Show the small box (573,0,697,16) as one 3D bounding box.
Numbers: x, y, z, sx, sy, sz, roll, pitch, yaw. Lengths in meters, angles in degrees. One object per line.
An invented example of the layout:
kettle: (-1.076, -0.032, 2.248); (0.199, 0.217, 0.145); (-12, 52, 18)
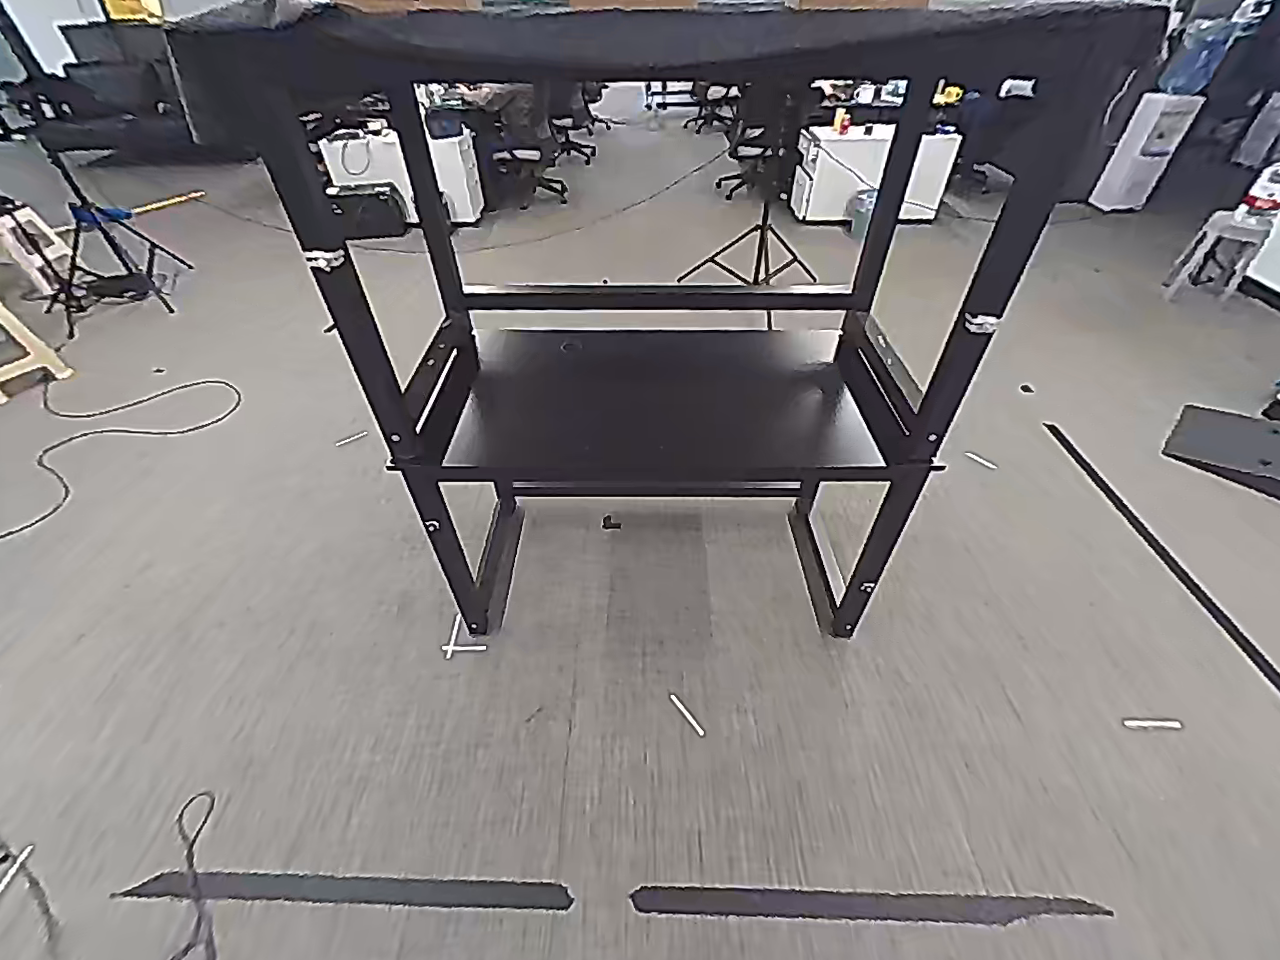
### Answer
small box: (-0.005, -0.722, 0.706); (0.168, 0.176, 0.179); (1, 41, 2)

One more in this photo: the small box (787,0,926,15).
small box: (0.295, -0.722, 0.704); (0.168, 0.176, 0.179); (3, 41, 4)
